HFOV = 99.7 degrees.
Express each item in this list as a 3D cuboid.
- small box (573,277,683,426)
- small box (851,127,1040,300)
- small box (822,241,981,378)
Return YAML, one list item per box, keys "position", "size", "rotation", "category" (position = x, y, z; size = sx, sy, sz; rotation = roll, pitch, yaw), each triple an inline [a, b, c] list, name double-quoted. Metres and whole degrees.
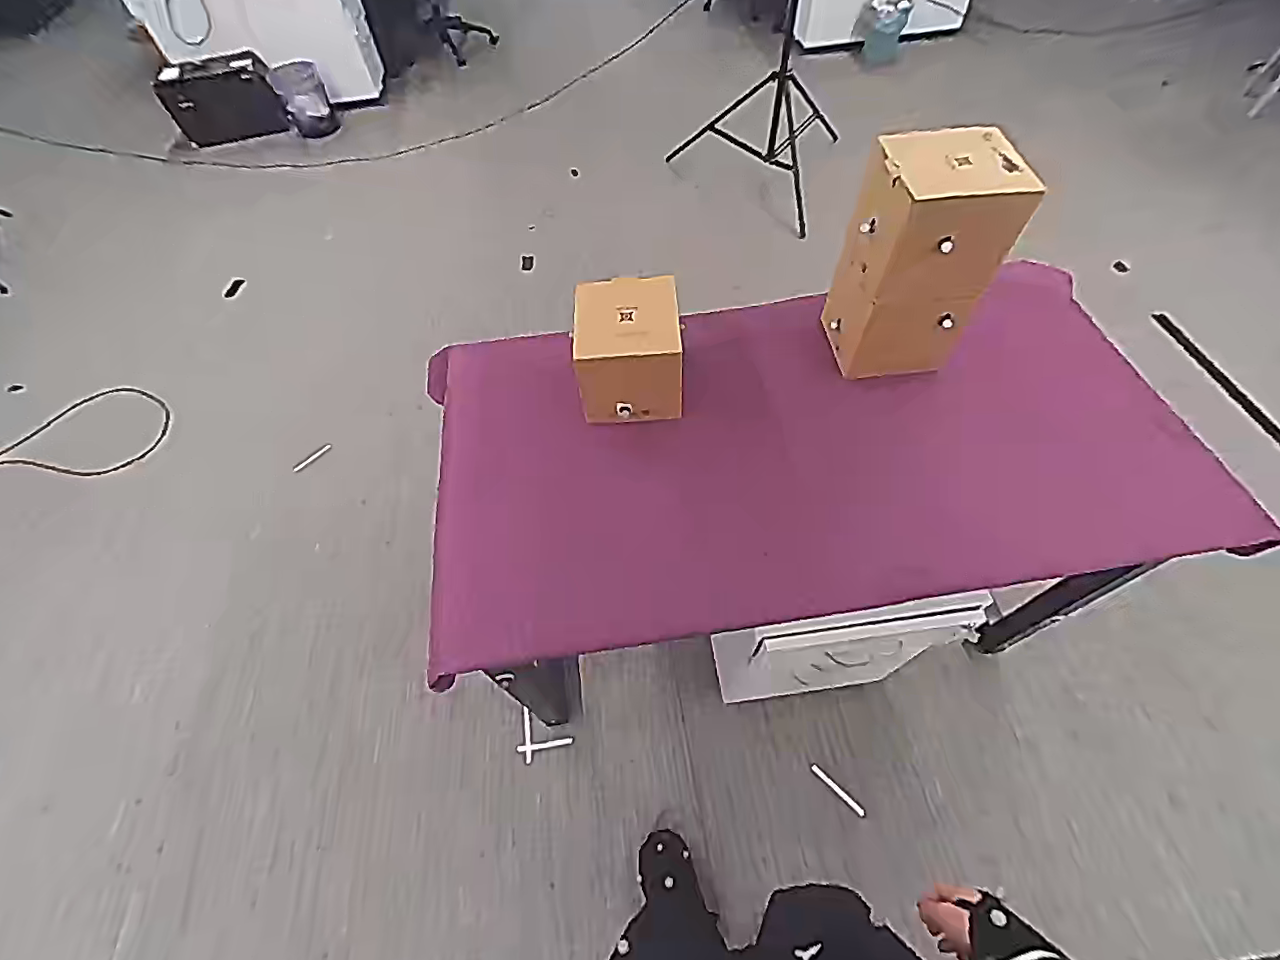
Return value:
- position: [-0.017, -0.213, 0.913]
  size: [0.168, 0.176, 0.179]
  rotation: [-4, 59, 2]
  category: "small box"
- position: [0.430, -0.387, 0.803]
  size: [0.179, 0.176, 0.168]
  rotation: [-5, 58, 1]
  category: "small box"
- position: [0.439, -0.298, 0.941]
  size: [0.179, 0.176, 0.168]
  rotation: [-6, 58, 0]
  category: "small box"
